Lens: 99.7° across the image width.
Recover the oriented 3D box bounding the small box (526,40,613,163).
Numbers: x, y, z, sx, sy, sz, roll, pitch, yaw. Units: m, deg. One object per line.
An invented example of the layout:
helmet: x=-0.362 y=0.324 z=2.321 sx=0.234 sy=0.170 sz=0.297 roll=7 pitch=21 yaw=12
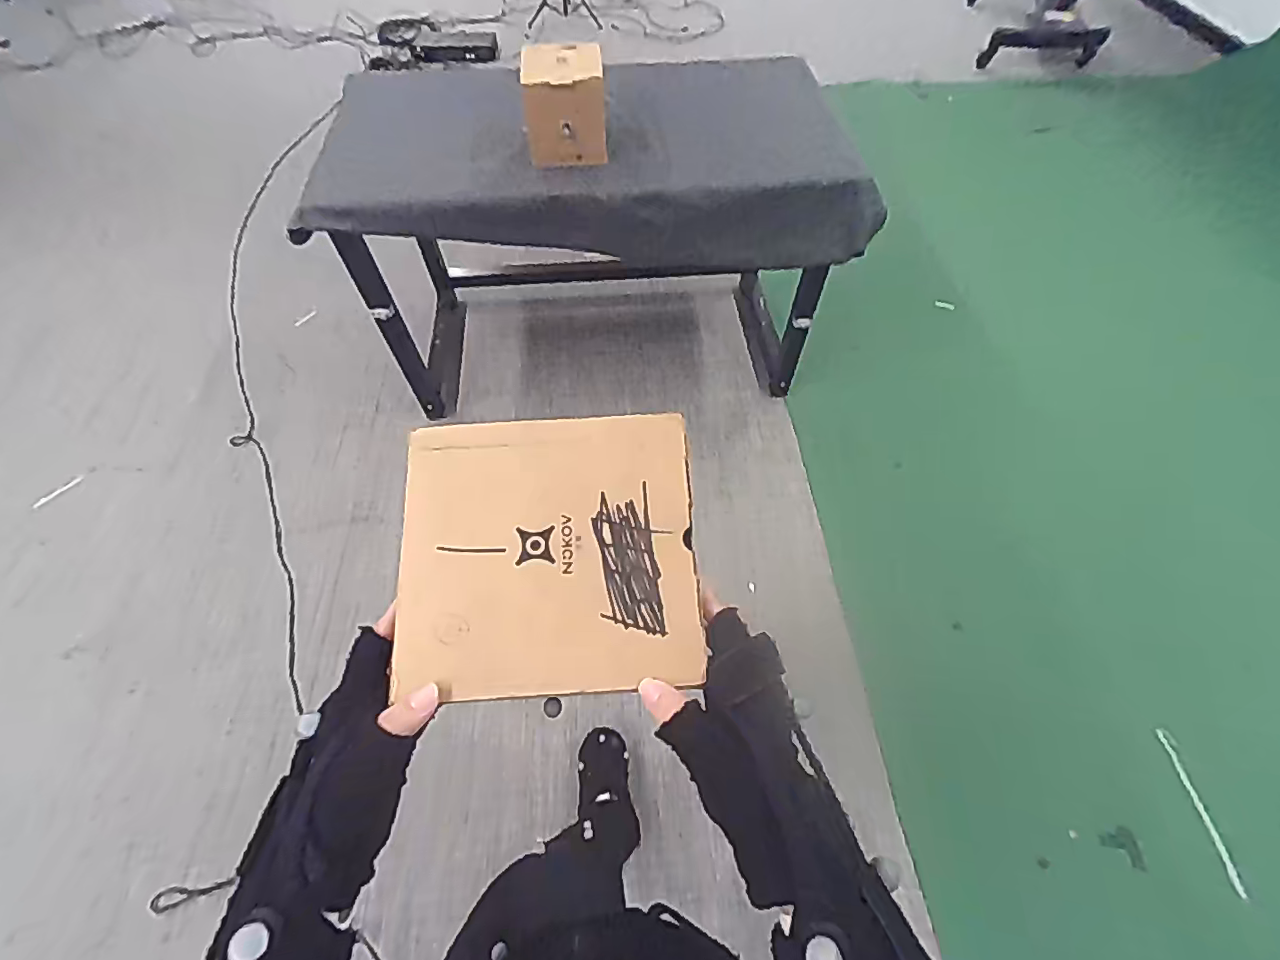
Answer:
small box: x=-0.146 y=-0.809 z=1.166 sx=0.168 sy=0.176 sz=0.179 roll=-3 pitch=59 yaw=-2
